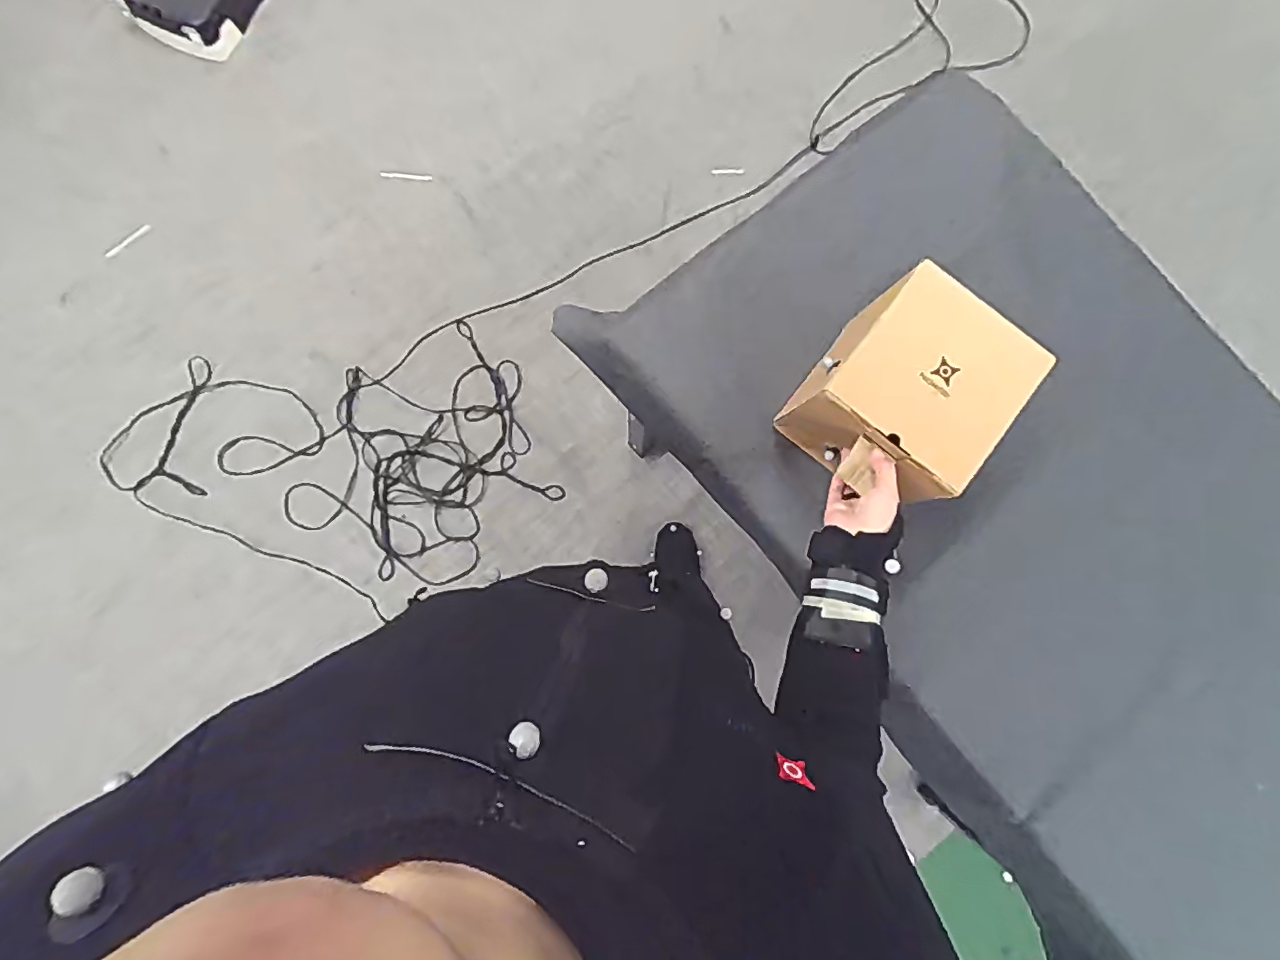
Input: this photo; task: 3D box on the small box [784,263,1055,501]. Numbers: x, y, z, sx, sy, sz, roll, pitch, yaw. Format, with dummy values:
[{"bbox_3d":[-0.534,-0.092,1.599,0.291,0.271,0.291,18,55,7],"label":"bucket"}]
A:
[{"bbox_3d":[0.290,-0.093,0.603,0.168,0.176,0.179,37,85,0],"label":"small box"}]
